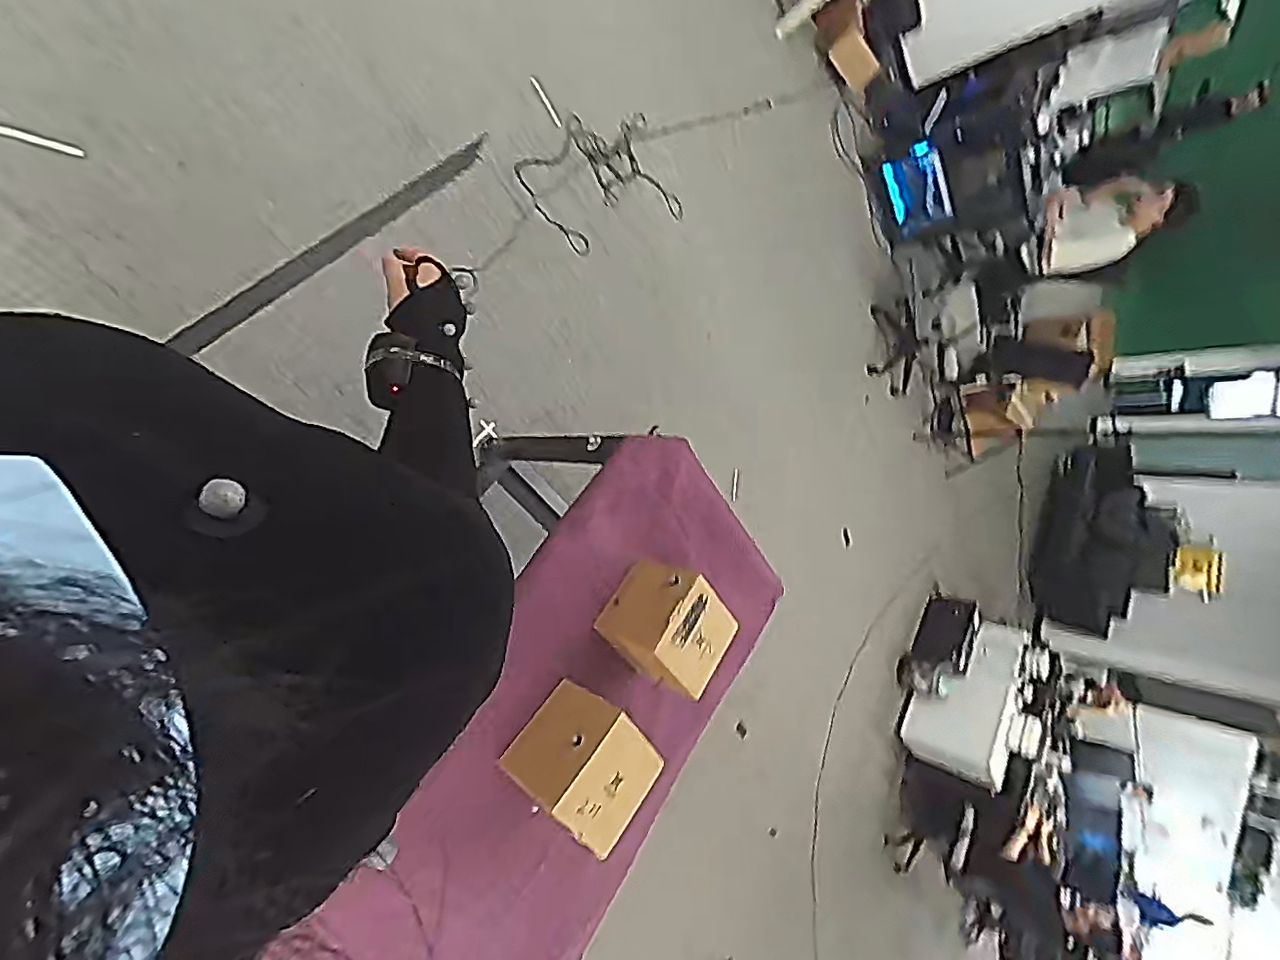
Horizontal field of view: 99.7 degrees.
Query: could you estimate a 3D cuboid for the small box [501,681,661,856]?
[{"bbox_3d":[-0.101,0.478,0.923,0.179,0.176,0.168,-47,122,-29],"label":"small box"}]
